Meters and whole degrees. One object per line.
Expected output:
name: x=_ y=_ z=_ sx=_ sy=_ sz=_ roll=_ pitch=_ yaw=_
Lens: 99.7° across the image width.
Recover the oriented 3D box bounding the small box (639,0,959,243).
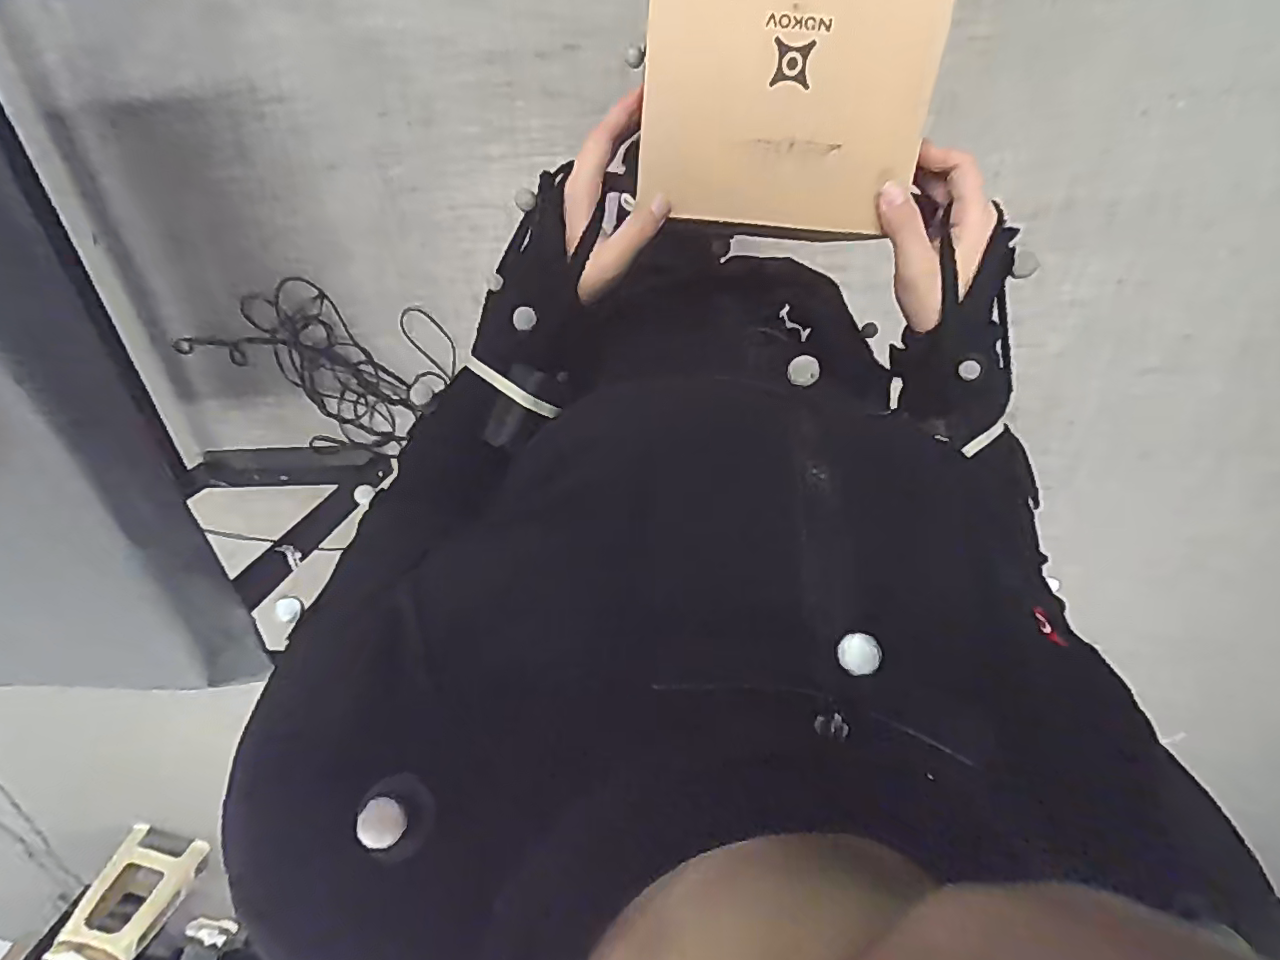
small box: x=0.088 y=-0.268 z=0.375 sx=0.168 sy=0.176 sz=0.179 roll=5 pitch=113 yaw=-1
